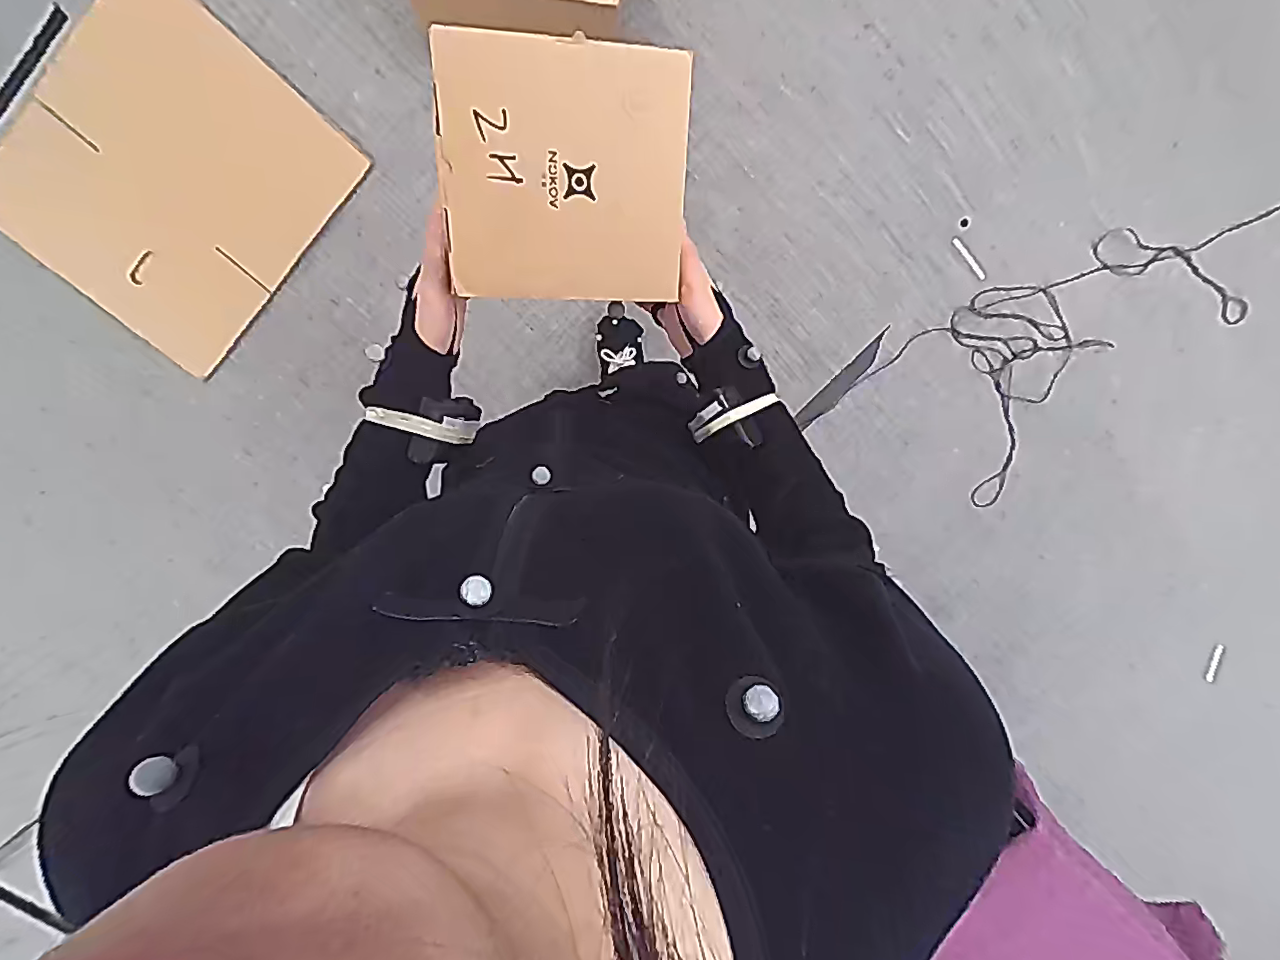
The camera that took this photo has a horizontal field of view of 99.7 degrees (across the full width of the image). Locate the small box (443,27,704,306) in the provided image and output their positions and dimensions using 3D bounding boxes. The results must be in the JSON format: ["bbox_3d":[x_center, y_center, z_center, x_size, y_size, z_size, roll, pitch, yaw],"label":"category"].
[{"bbox_3d":[-0.058,-0.244,0.460,0.179,0.176,0.168,-1,112,-10],"label":"small box"}]
